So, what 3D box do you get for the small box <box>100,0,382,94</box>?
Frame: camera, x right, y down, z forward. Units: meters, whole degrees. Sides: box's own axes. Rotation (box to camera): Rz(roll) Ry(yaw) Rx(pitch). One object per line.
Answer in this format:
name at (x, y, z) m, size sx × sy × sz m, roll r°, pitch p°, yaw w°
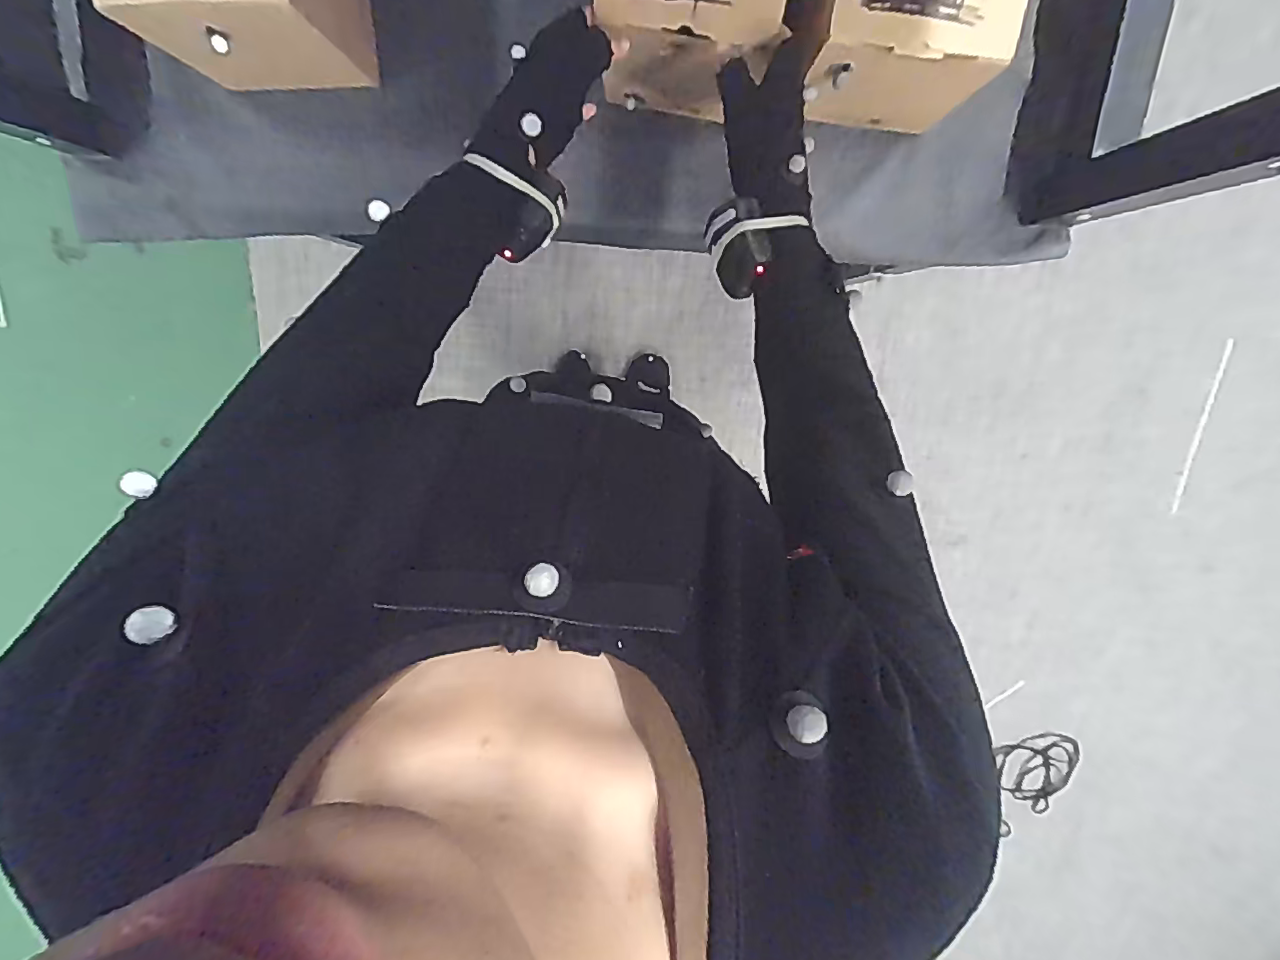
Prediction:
small box at (-0.387, -0.508, 0.533) m, size 0.179 × 0.176 × 0.168 m, roll -1°, pitch 105°, yaw 0°
